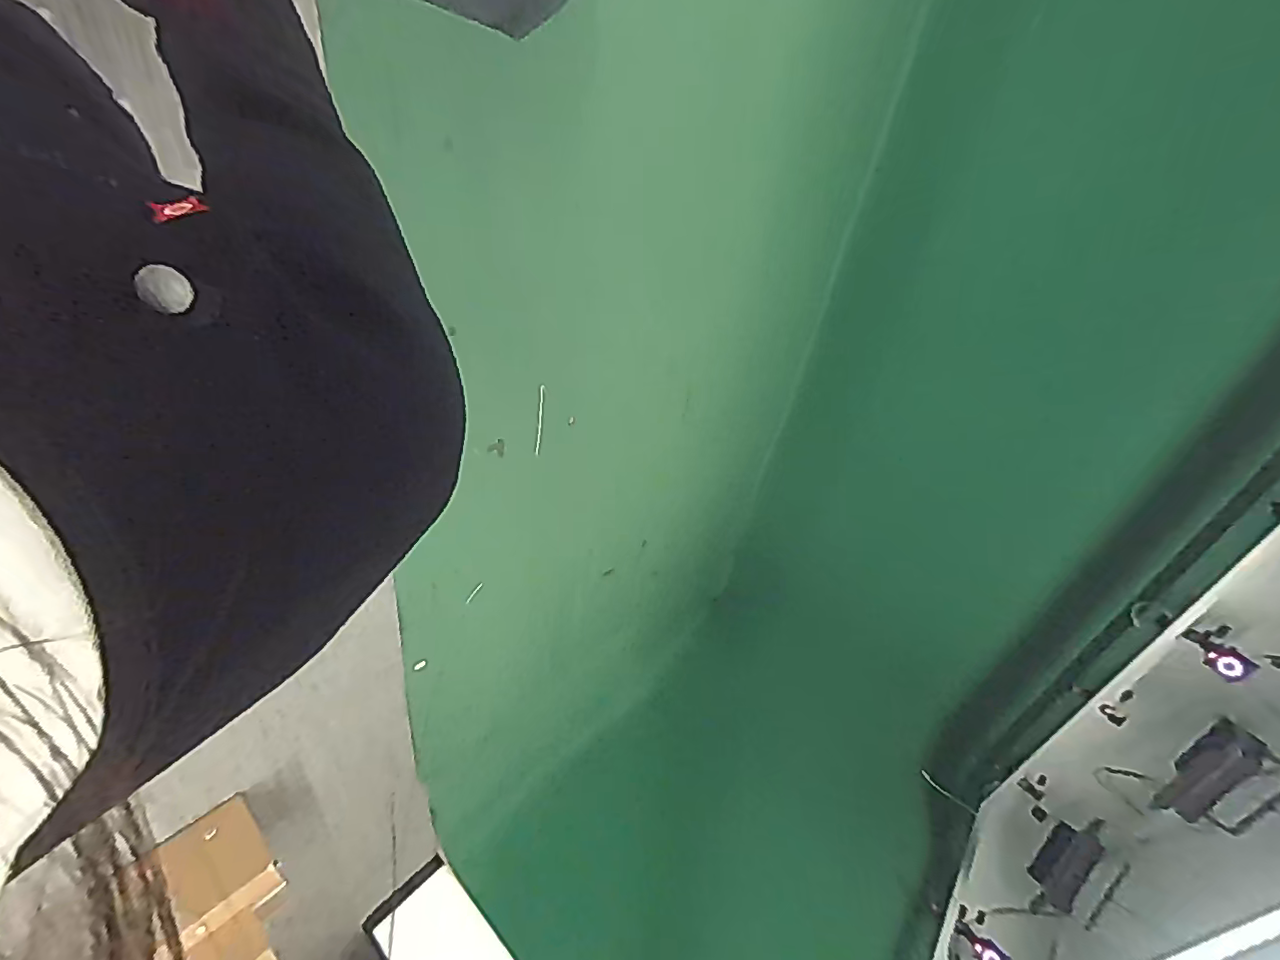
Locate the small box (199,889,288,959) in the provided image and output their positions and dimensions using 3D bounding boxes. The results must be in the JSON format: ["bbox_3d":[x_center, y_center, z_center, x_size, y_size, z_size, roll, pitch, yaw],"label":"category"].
[{"bbox_3d":[-1.260,1.466,1.713,0.179,0.176,0.168,-28,134,-41],"label":"small box"}]
